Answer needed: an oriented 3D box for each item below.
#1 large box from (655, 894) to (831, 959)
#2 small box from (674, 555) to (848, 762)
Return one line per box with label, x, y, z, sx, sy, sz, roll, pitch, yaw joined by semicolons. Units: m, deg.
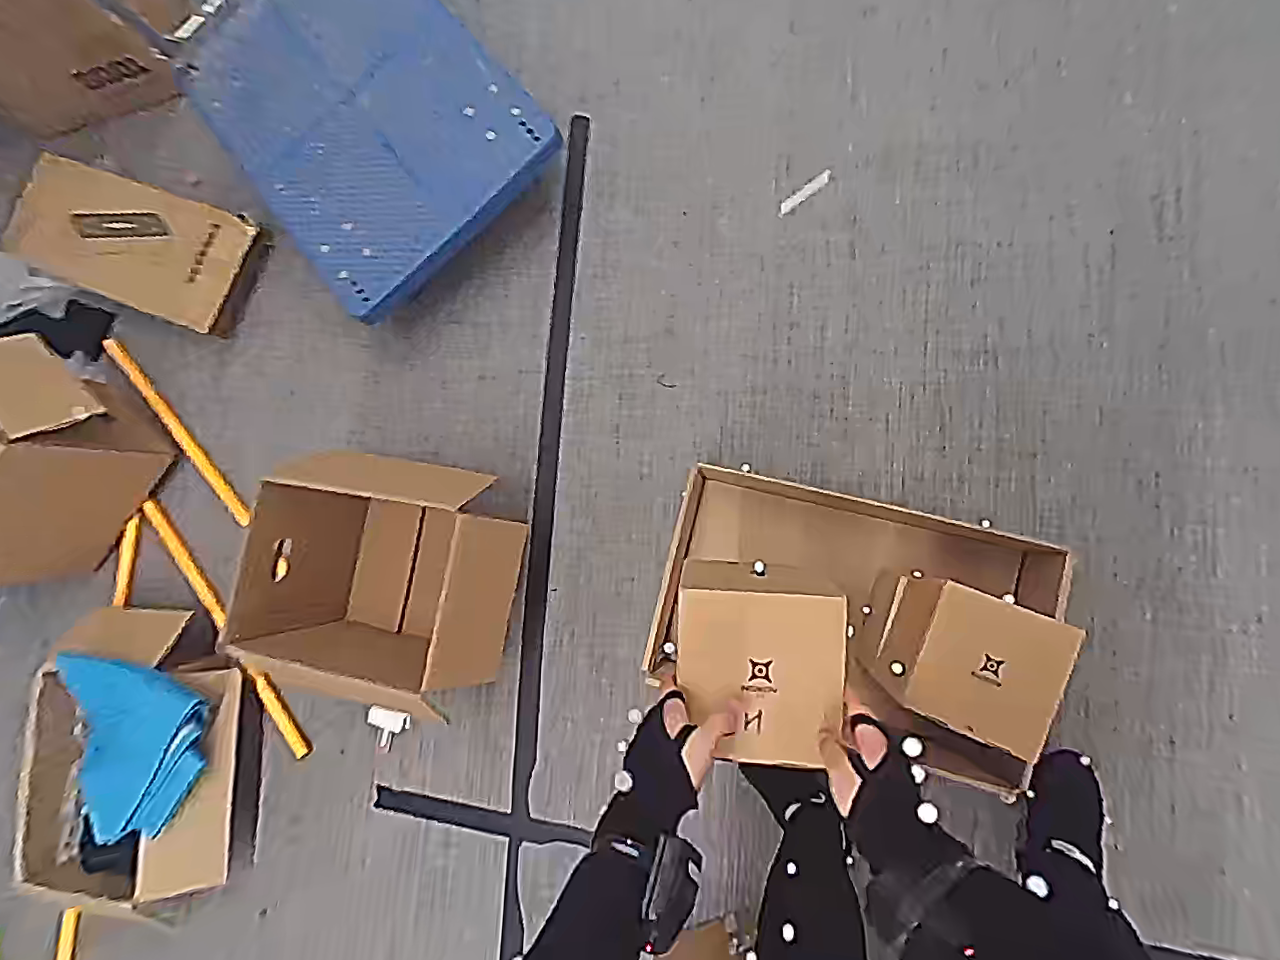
large box;0.221;1.000;0.860;0.320;0.320;0.408;-24;82;8
small box;0.130;0.188;0.622;0.168;0.176;0.179;3;93;8
